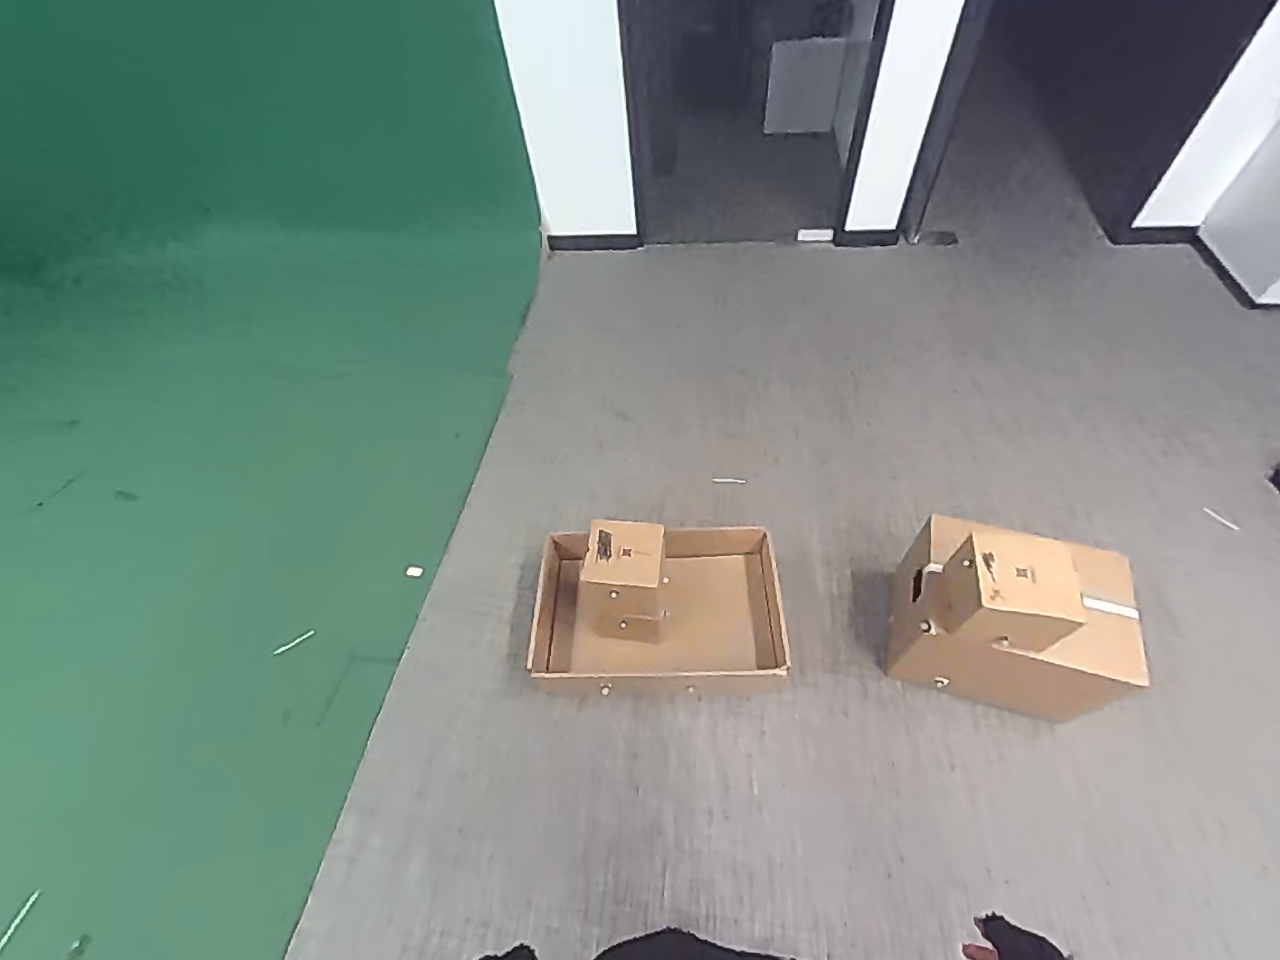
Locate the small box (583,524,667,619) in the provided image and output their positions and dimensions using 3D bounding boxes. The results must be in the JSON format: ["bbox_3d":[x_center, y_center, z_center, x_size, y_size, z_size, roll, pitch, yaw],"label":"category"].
[{"bbox_3d":[-0.028,0.224,1.304,0.179,0.176,0.168,4,53,6],"label":"small box"}]

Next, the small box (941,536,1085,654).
[{"bbox_3d":[0.737,0.237,1.090,0.179,0.176,0.168,8,55,11],"label":"small box"}]

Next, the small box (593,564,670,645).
[{"bbox_3d":[-0.016,0.325,1.433,0.179,0.176,0.168,5,53,6],"label":"small box"}]
